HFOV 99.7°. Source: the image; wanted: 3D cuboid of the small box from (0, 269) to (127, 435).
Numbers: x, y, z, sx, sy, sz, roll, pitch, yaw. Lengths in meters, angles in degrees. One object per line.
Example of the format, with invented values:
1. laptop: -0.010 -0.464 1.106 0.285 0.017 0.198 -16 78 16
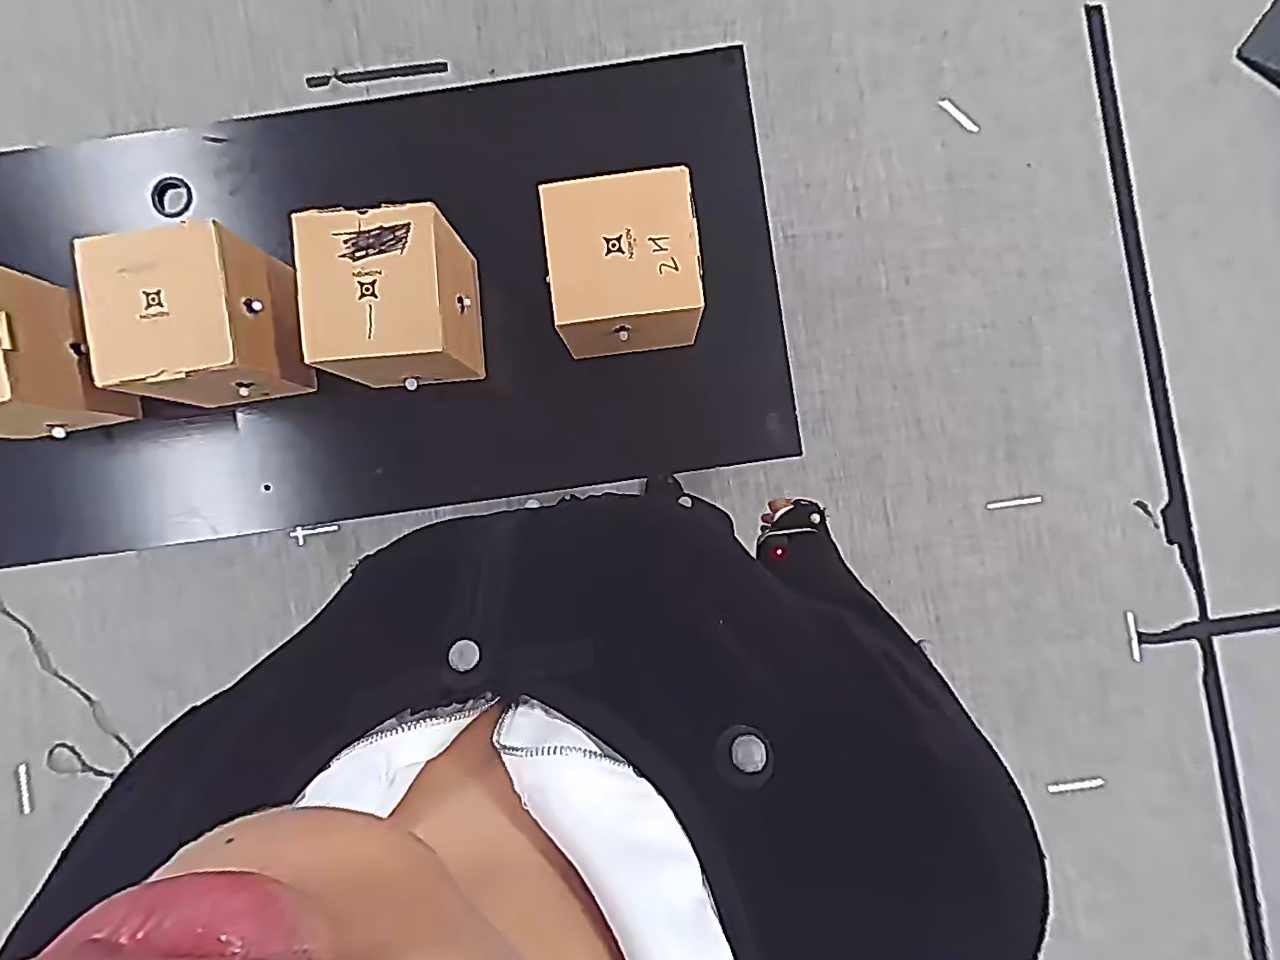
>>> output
1. small box: -0.818 -0.158 0.697 0.179 0.176 0.168 -10 89 -1

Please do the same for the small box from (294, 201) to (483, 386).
1. small box: -0.311 -0.228 0.700 0.168 0.176 0.179 -5 90 0

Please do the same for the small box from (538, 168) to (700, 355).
1. small box: -0.023 -0.268 0.701 0.179 0.176 0.168 -6 90 0

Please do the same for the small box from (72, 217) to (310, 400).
1. small box: -0.560 -0.205 0.701 0.168 0.176 0.179 -9 89 -1
